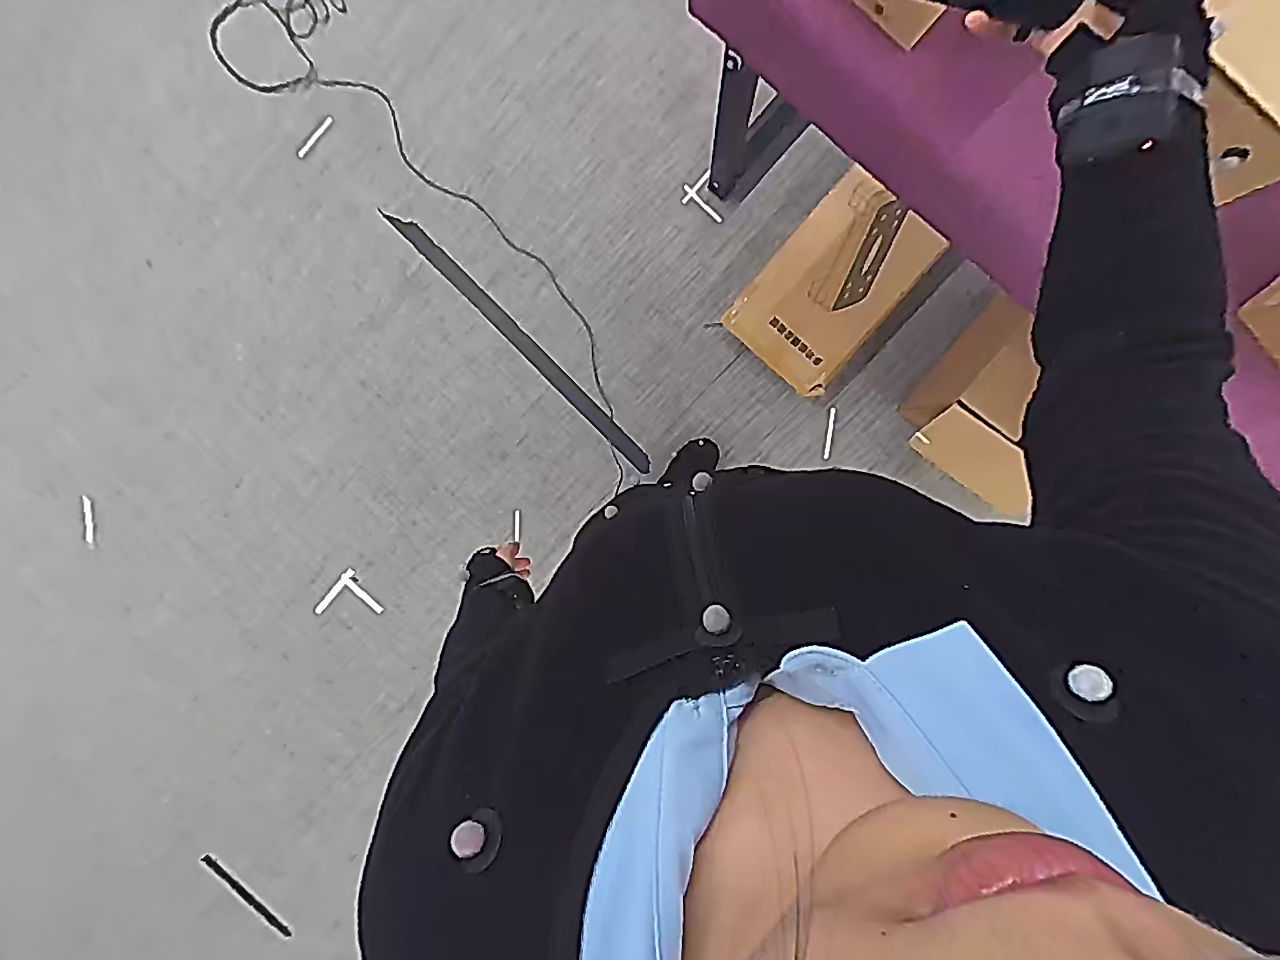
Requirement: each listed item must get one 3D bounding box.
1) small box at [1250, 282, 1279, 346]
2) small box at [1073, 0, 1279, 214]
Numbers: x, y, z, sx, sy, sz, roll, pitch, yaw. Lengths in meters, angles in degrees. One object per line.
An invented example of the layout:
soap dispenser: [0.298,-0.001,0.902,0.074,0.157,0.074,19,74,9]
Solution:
small box: [0.877,-0.202,0.603,0.168,0.176,0.179,-41,91,6]
small box: [0.656,-0.432,0.601,0.179,0.176,0.168,42,94,0]
